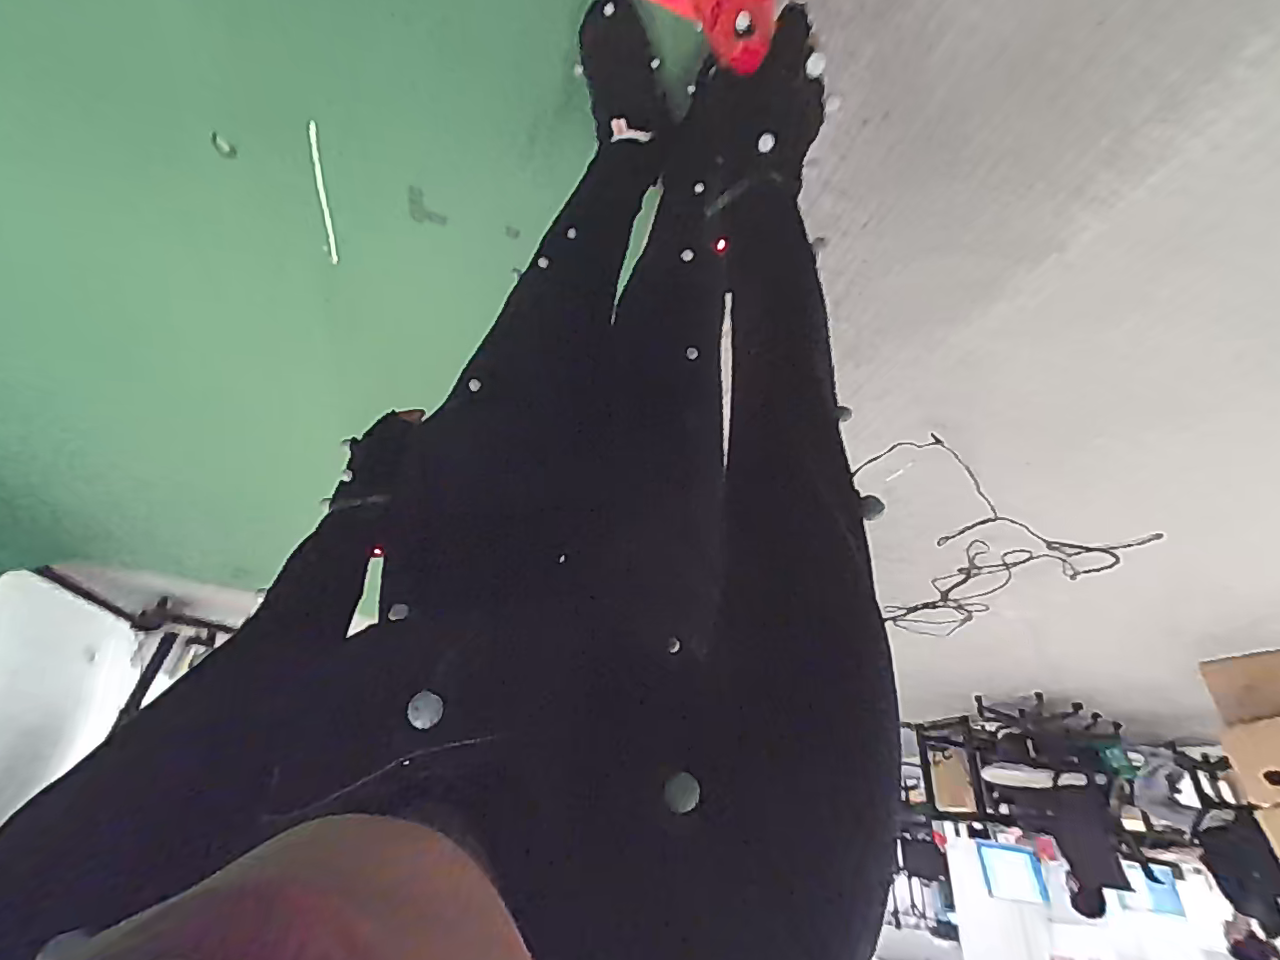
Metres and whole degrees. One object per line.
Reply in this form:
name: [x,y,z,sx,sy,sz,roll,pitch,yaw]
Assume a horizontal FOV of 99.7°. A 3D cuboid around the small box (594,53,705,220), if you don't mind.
small box: [0.008,-0.569,0.906,0.168,0.176,0.179,0,151,-5]
